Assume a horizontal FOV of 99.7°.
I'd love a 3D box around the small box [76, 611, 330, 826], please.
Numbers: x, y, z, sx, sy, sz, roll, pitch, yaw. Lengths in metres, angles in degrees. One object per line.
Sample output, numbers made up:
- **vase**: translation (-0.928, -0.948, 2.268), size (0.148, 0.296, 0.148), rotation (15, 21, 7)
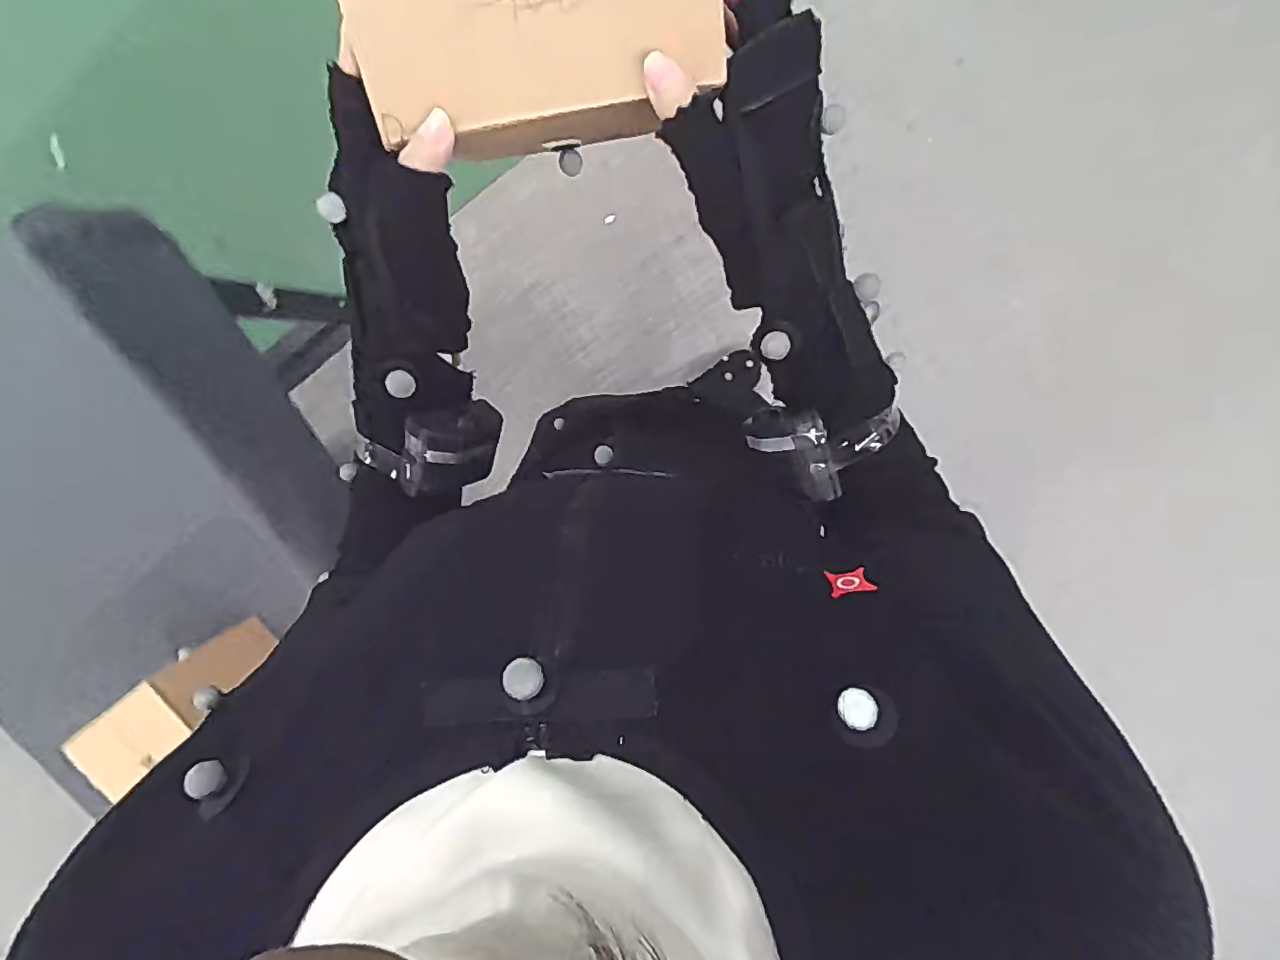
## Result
- **small box**: translation (-0.578, 0.315, 0.741), size (0.168, 0.176, 0.179), rotation (-34, 98, 13)
